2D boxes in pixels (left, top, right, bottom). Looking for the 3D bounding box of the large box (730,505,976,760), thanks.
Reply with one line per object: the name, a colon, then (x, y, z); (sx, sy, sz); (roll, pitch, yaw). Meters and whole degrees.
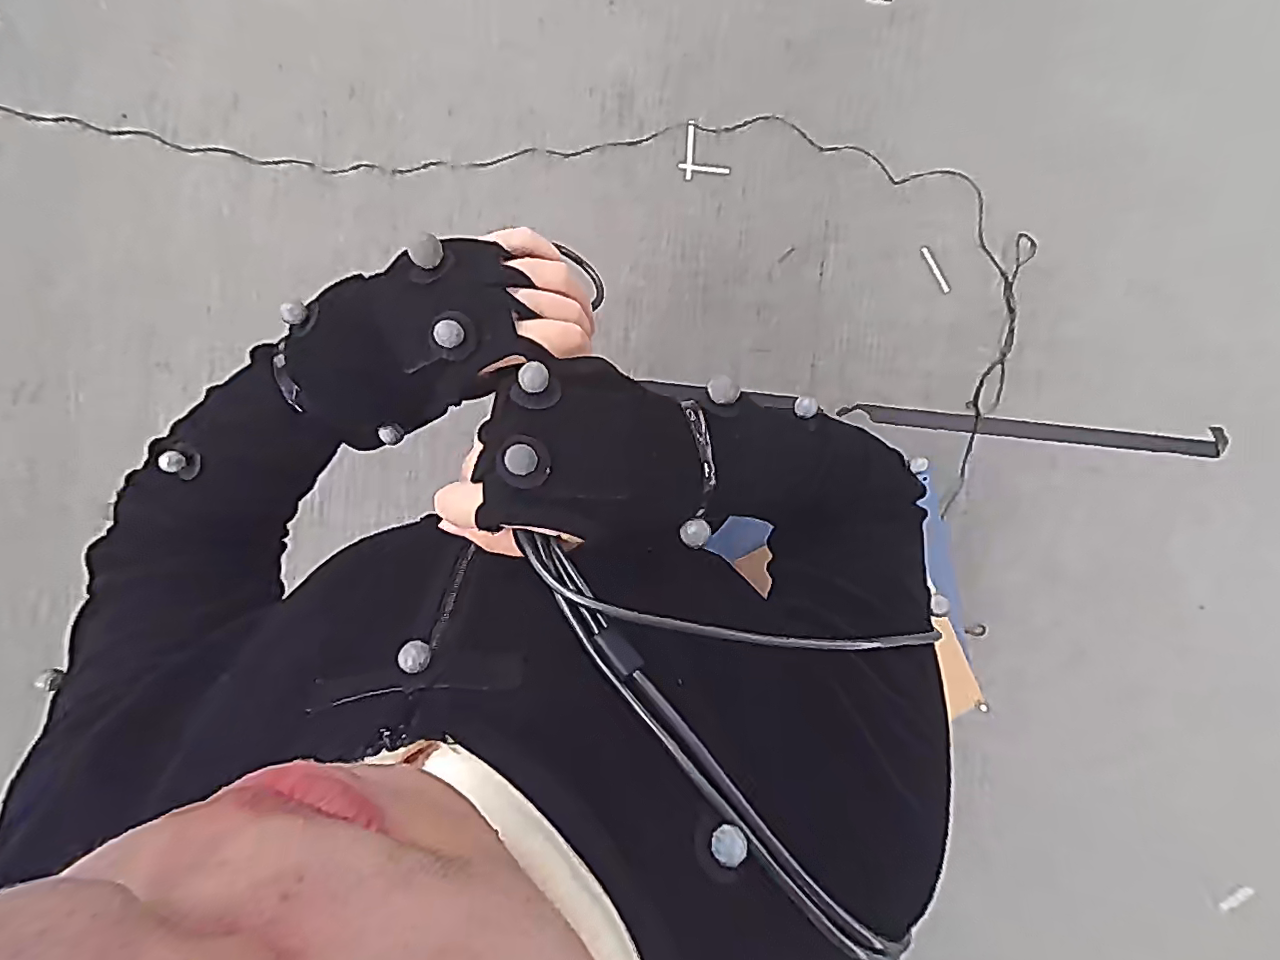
large box: (0.452, 0.314, 1.224); (0.320, 0.320, 0.408); (-26, 96, -1)
